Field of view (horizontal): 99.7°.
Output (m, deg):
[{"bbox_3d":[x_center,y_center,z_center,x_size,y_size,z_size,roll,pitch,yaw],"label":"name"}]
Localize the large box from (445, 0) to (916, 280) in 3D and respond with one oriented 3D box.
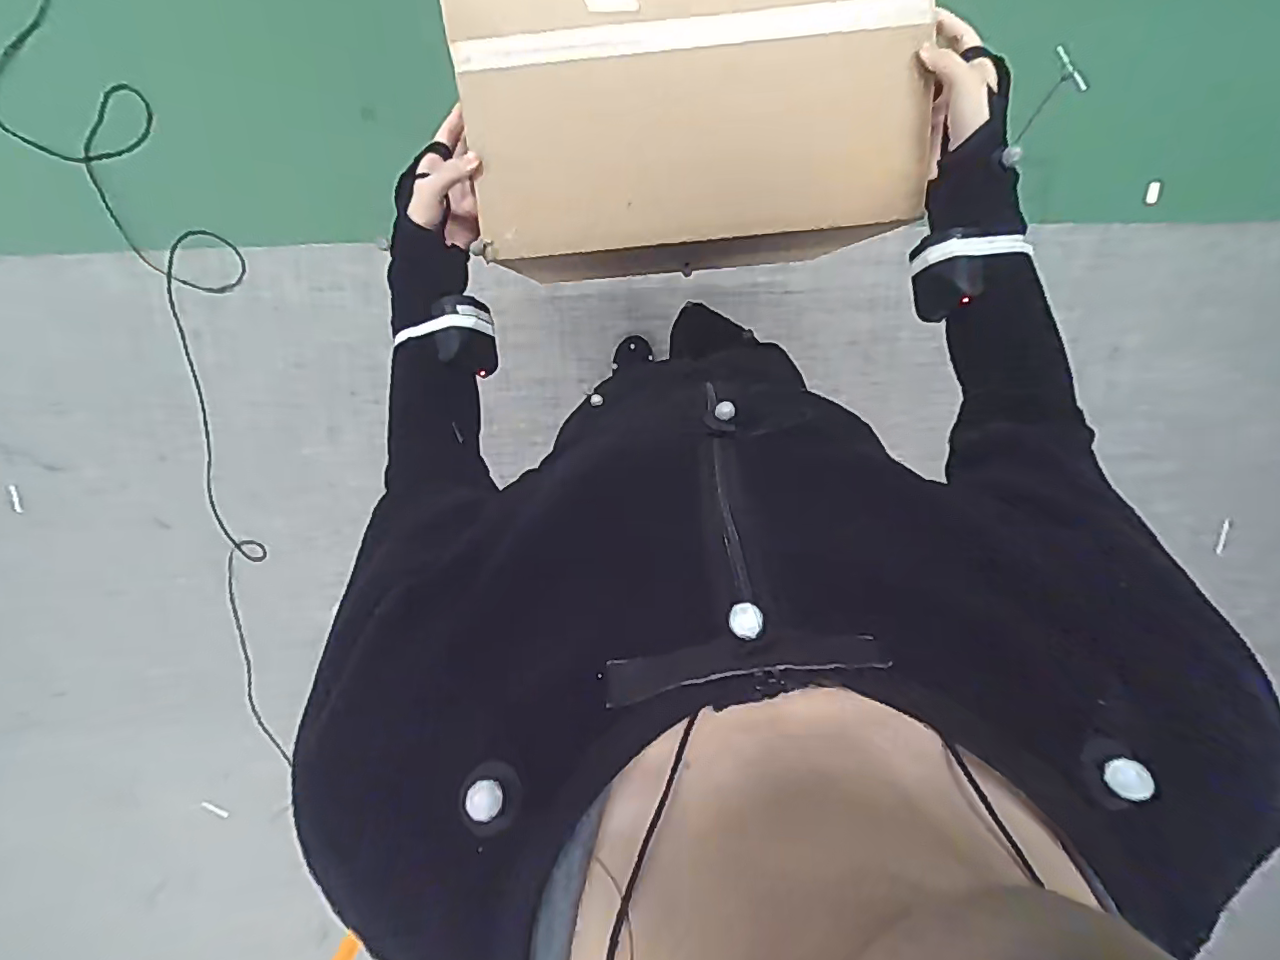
[{"bbox_3d":[0.038,-0.415,0.608,0.408,0.320,0.320,-5,106,1],"label":"large box"}]
